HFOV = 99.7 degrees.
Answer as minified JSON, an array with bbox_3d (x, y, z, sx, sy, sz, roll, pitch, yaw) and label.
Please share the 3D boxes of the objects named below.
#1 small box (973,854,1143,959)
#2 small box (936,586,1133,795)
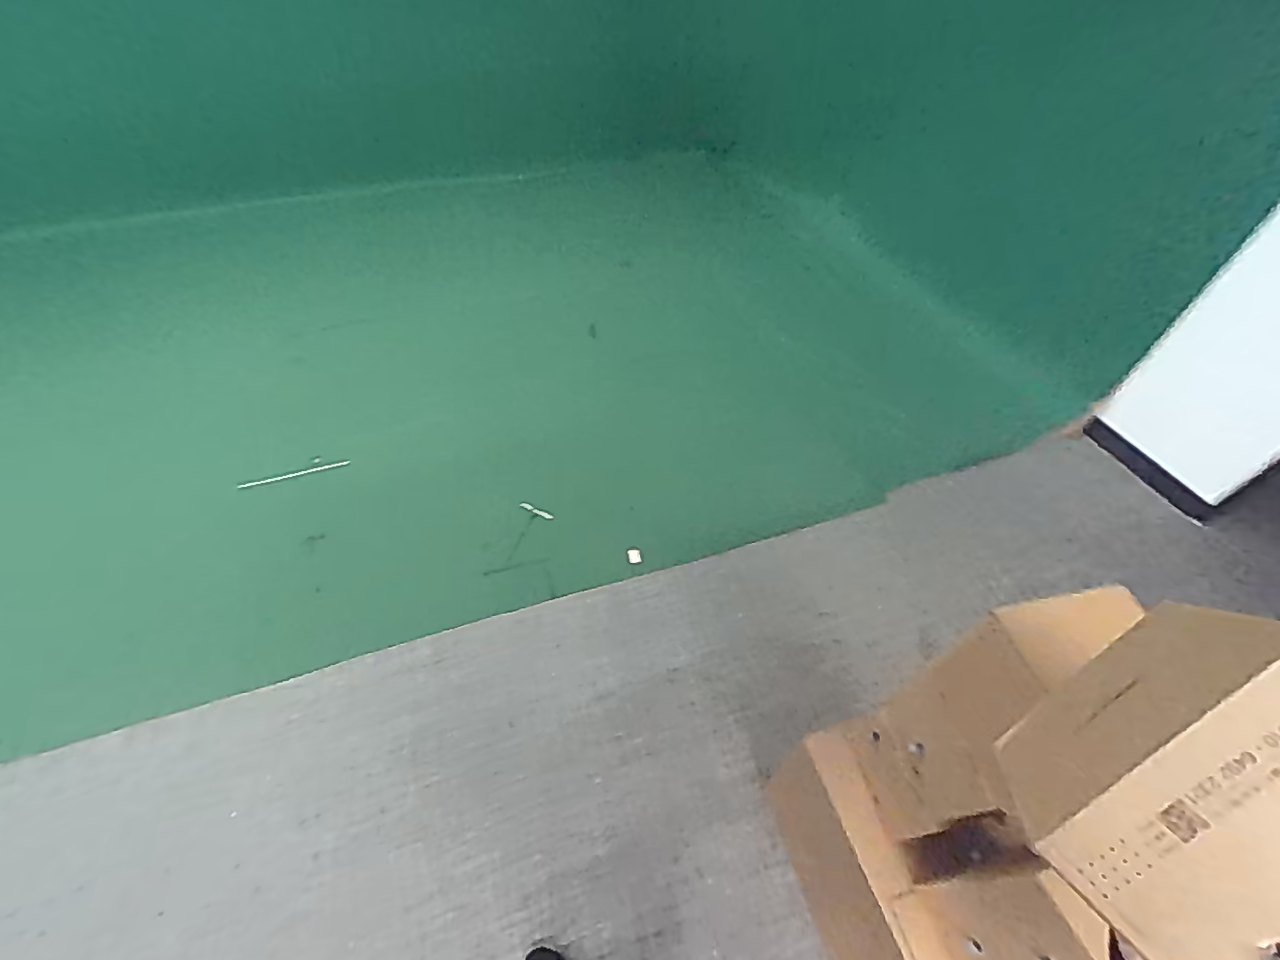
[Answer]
[{"bbox_3d":[0.525,0.514,0.600,0.168,0.176,0.179,-13,50,-11],"label":"small box"},{"bbox_3d":[0.477,0.246,0.610,0.168,0.176,0.179,-9,53,-7],"label":"small box"}]
